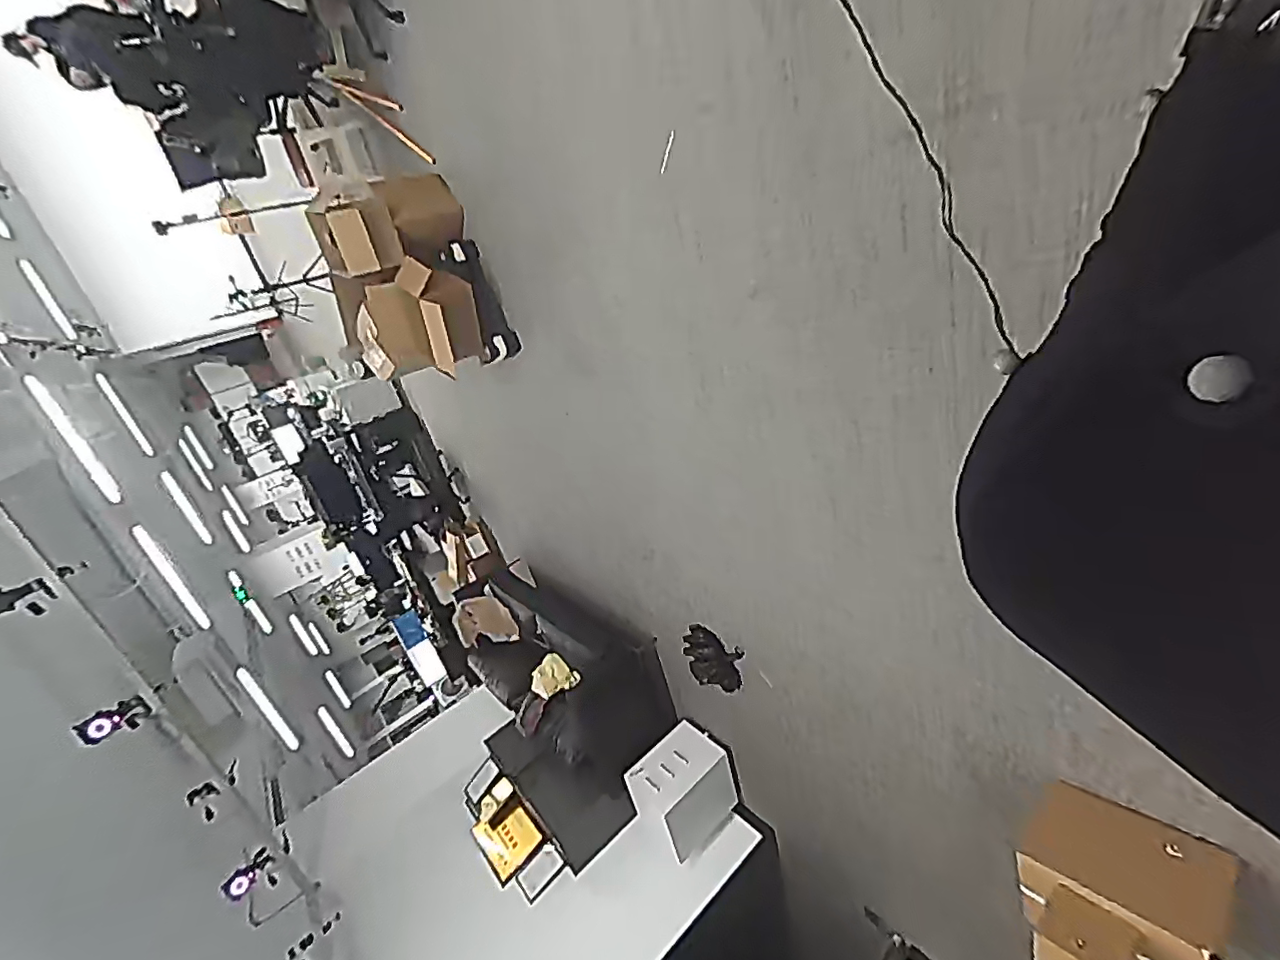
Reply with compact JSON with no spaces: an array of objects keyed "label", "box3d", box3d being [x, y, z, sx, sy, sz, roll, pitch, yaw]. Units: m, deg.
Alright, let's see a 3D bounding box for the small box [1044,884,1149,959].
[{"label":"small box","box3d":[1.193,1.220,1.412,0.179,0.176,0.168,11,123,54]}]
